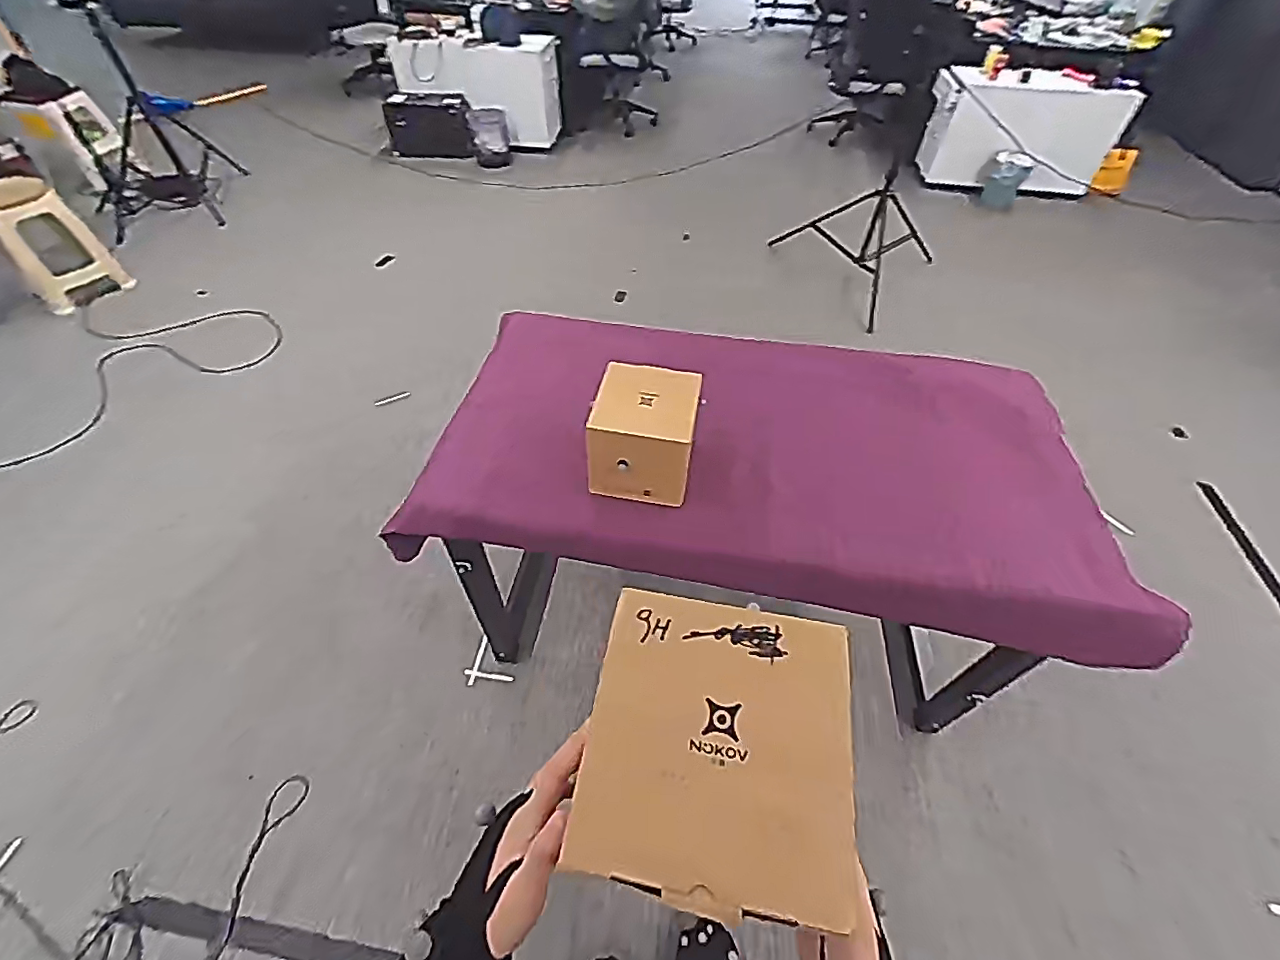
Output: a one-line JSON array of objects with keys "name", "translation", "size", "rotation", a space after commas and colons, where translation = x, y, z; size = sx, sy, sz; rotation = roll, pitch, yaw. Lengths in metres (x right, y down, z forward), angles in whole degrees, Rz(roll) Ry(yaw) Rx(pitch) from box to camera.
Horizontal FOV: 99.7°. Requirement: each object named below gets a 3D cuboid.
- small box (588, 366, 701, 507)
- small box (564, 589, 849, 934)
[{"name": "small box", "translation": [0.011, -0.075, 0.957], "size": [0.168, 0.176, 0.179], "rotation": [9, 49, 5]}, {"name": "small box", "translation": [0.053, 0.209, 0.415], "size": [0.168, 0.176, 0.179], "rotation": [9, 56, 7]}]
